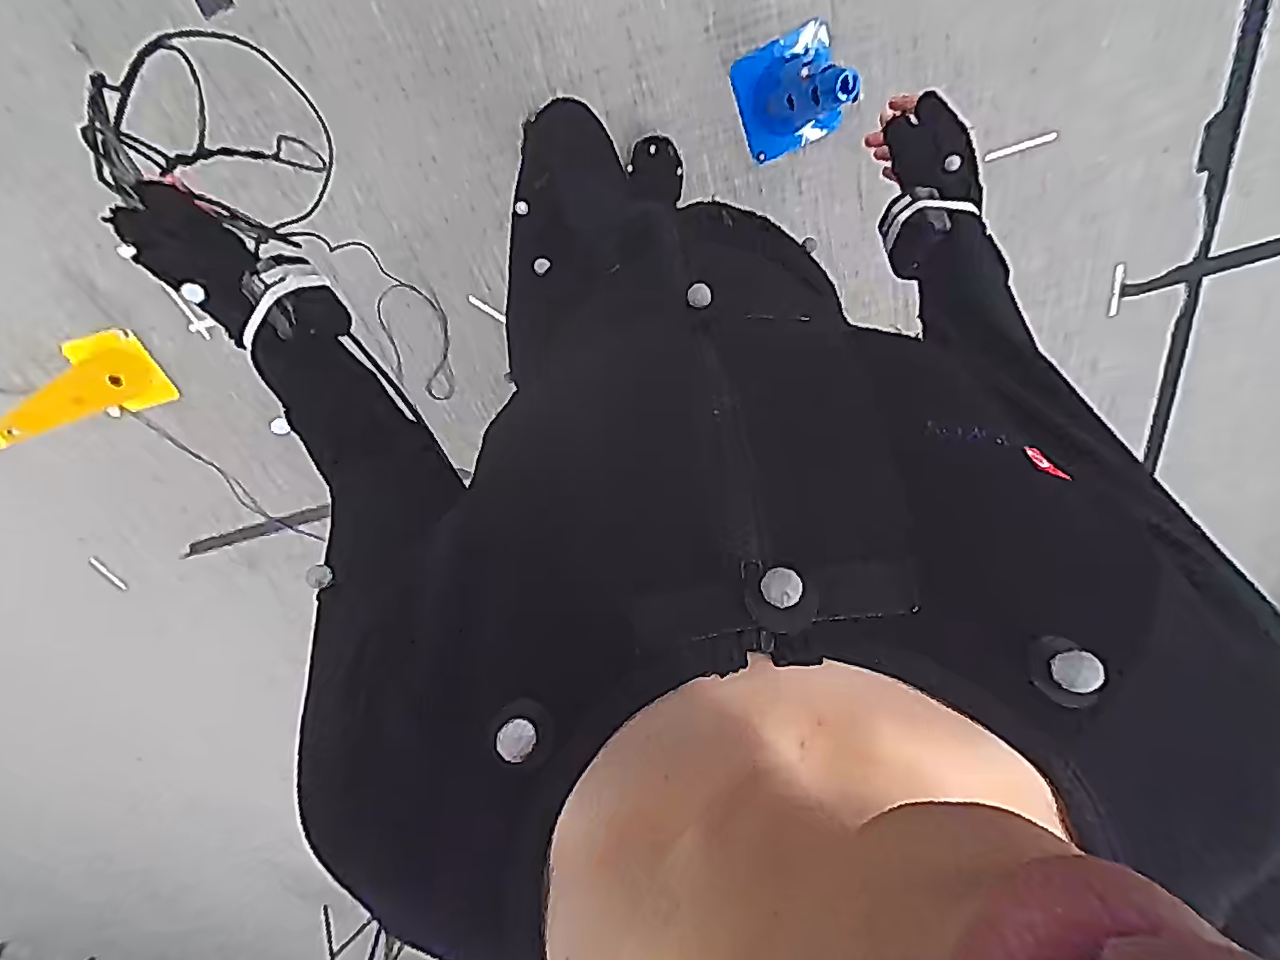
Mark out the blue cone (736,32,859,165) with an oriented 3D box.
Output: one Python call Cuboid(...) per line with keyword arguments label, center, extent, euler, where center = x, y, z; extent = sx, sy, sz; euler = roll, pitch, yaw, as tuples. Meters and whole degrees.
Cuboid(label="blue cone", center=(0.312, -0.702, 0.989), extent=(0.193, 0.380, 0.192), euler=(-20, 122, 10))
